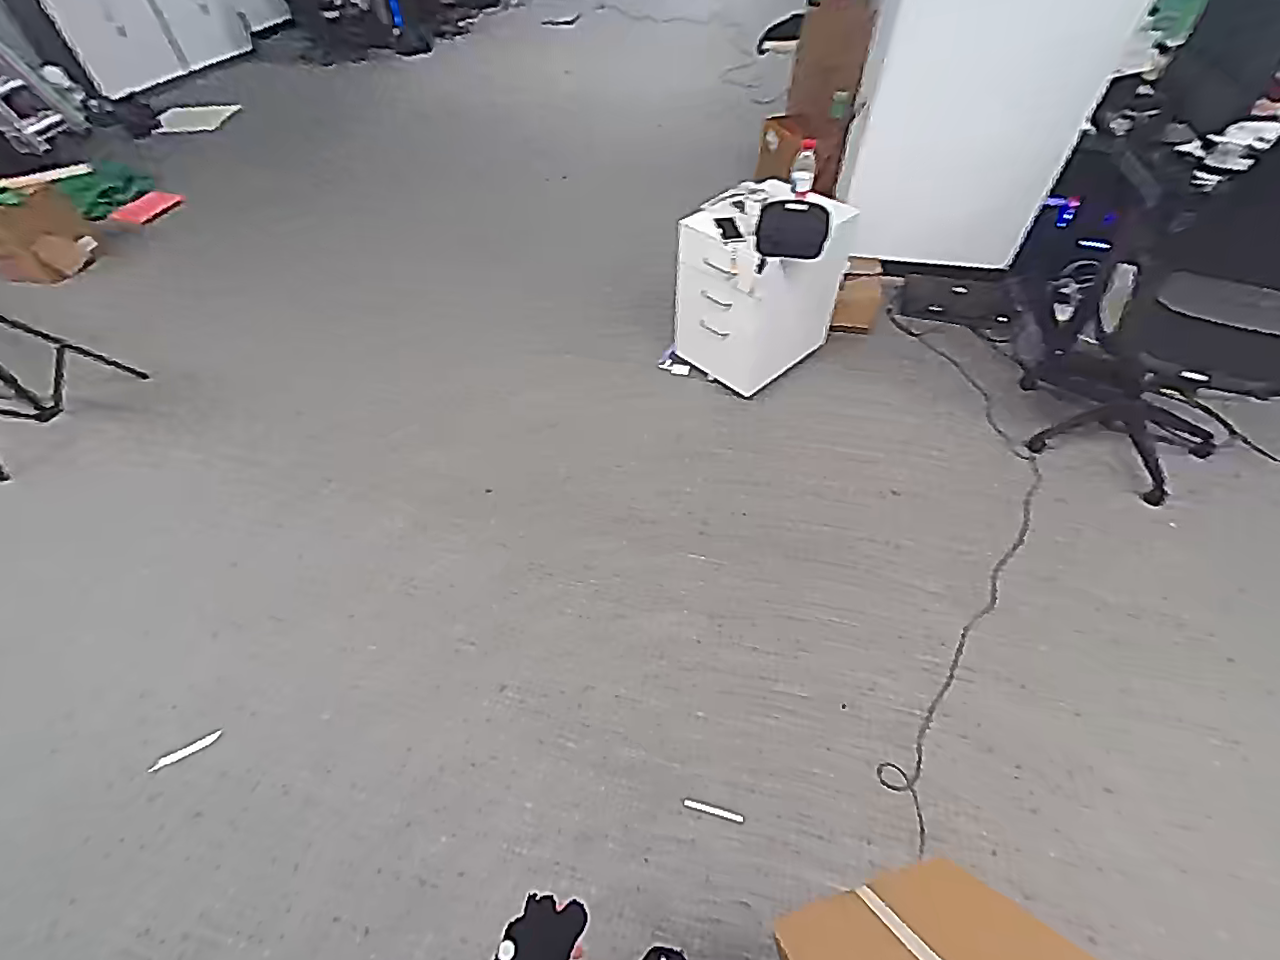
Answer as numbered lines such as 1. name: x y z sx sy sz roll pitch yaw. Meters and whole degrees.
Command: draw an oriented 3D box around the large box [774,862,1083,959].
1. large box: 0.408 0.754 0.641 0.320 0.408 0.320 -13 80 -9
